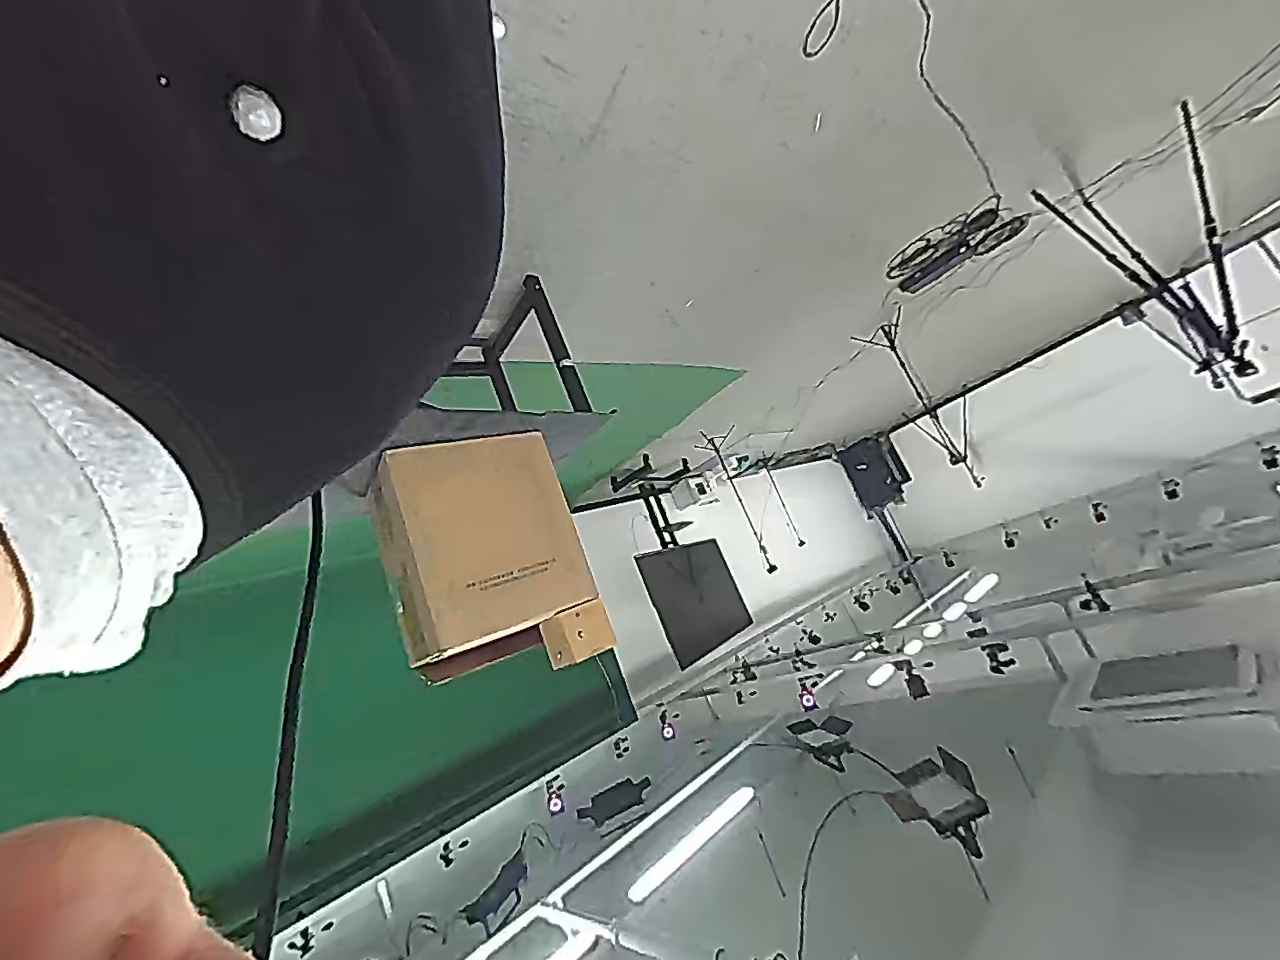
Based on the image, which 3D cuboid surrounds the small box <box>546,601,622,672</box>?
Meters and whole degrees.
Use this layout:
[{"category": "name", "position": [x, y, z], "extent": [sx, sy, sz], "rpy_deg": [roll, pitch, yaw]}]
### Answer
[{"category": "small box", "position": [-0.193, 0.517, 1.803], "extent": [0.168, 0.176, 0.179], "rpy_deg": [-12, 165, -38]}]
